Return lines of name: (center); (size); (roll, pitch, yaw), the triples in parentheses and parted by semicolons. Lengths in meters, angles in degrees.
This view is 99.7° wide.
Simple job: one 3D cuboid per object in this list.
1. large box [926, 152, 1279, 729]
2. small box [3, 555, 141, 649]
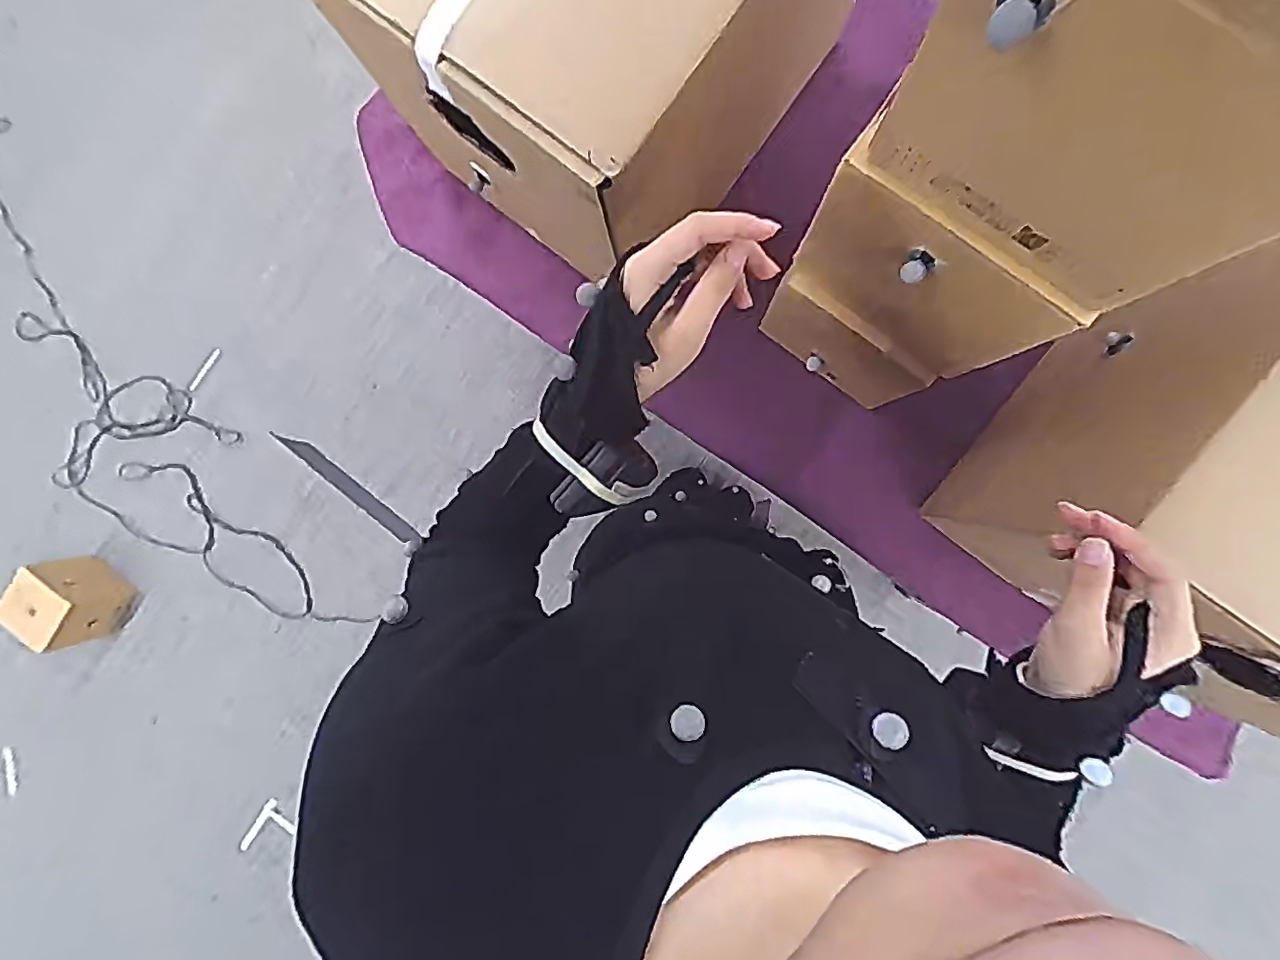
large box: (0.546, -0.030, 0.461); (0.320, 0.320, 0.408); (37, 92, 4)
small box: (-1.543, 0.324, 1.481); (0.179, 0.176, 0.168); (36, 94, 5)
